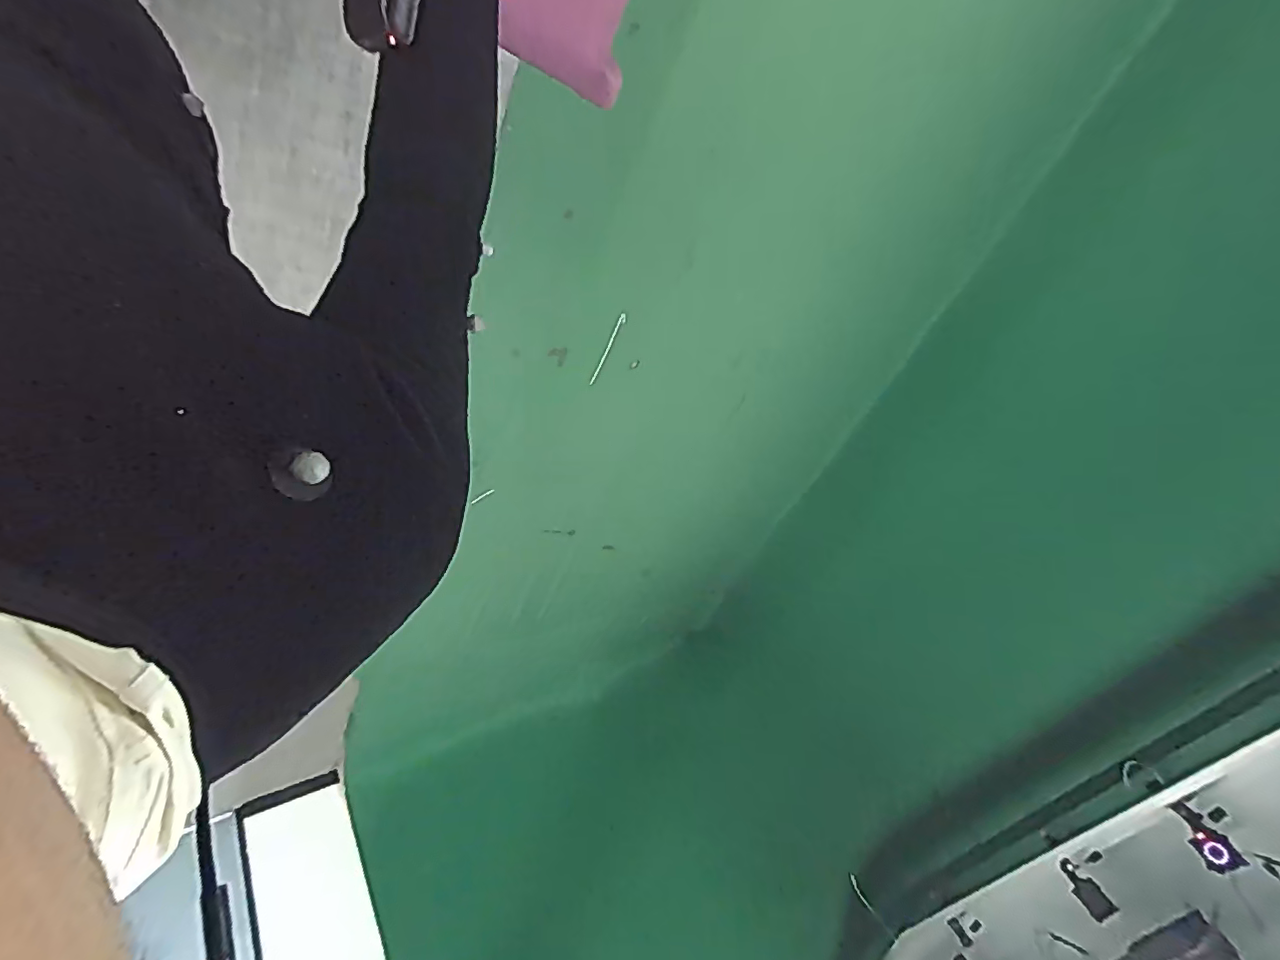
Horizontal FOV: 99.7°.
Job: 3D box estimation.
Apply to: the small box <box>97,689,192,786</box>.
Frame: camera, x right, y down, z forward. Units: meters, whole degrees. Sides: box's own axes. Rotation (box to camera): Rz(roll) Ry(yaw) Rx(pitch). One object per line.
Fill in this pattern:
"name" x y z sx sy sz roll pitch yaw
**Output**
"small box" -1.425 0.728 1.552 0.179 0.176 0.168 6 126 -49
